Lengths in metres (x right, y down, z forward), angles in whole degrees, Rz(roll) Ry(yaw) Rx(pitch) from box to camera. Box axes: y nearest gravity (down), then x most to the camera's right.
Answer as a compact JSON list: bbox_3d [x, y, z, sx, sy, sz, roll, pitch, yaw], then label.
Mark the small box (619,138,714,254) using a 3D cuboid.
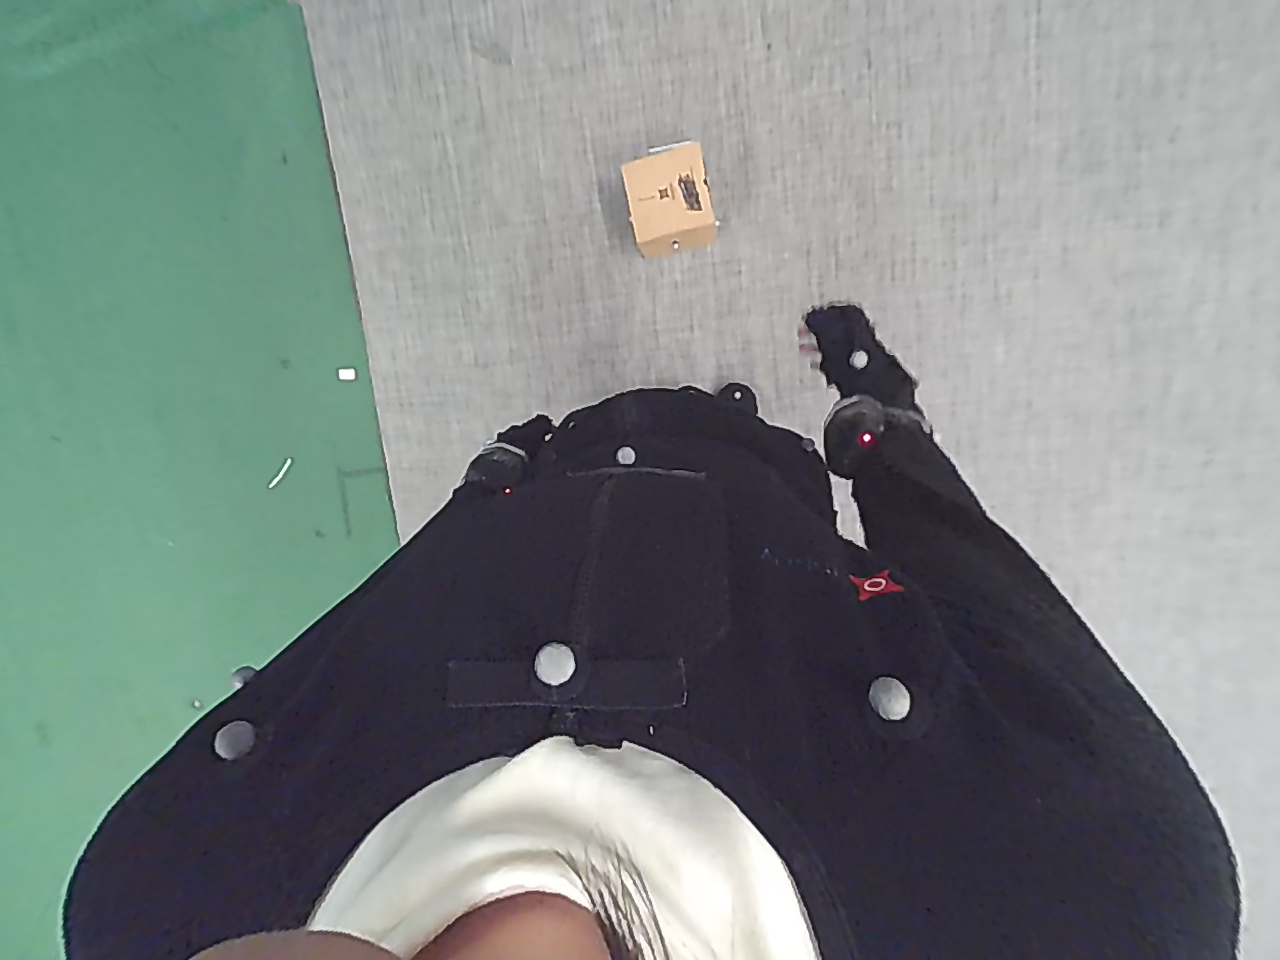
[{"bbox_3d":[0.065,-0.637,1.235,0.179,0.176,0.168,-14,98,10],"label":"small box"}]
